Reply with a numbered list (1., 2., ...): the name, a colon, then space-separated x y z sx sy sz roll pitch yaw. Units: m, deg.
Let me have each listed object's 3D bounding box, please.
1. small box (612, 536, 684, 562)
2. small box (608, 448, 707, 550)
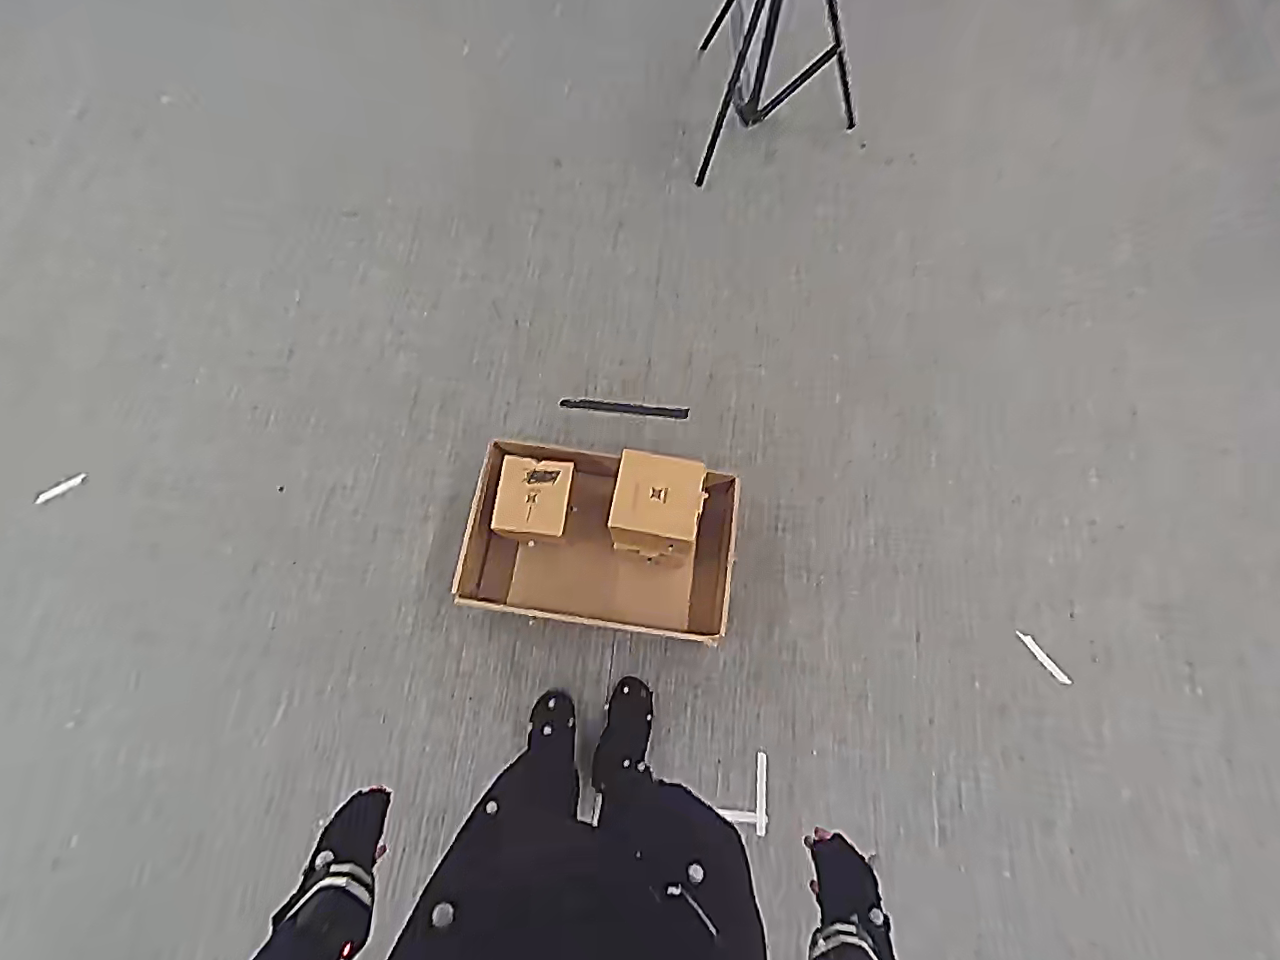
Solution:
1. small box: 0.035 0.097 1.311 0.168 0.176 0.179 9 75 5
2. small box: 0.038 0.048 1.154 0.179 0.176 0.168 9 72 4
